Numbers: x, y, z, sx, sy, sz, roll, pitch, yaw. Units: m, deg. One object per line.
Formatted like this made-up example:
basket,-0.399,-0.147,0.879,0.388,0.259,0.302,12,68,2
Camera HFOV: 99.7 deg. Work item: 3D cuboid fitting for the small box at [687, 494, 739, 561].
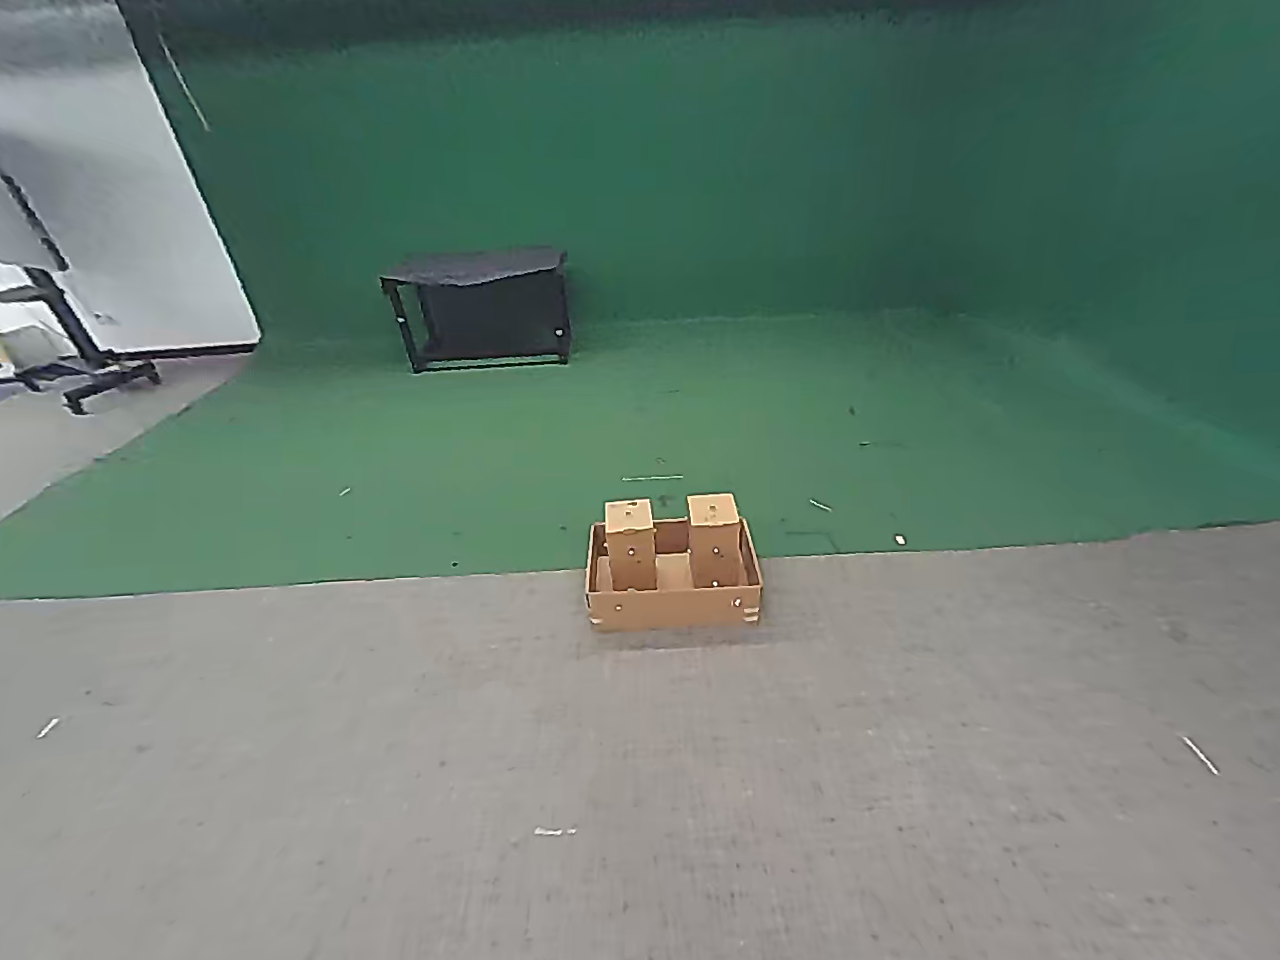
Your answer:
small box,0.258,0.169,1.938,0.168,0.176,0.179,-4,35,1

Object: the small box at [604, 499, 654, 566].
small box,-0.039,0.193,1.934,0.168,0.176,0.179,-5,35,-1
